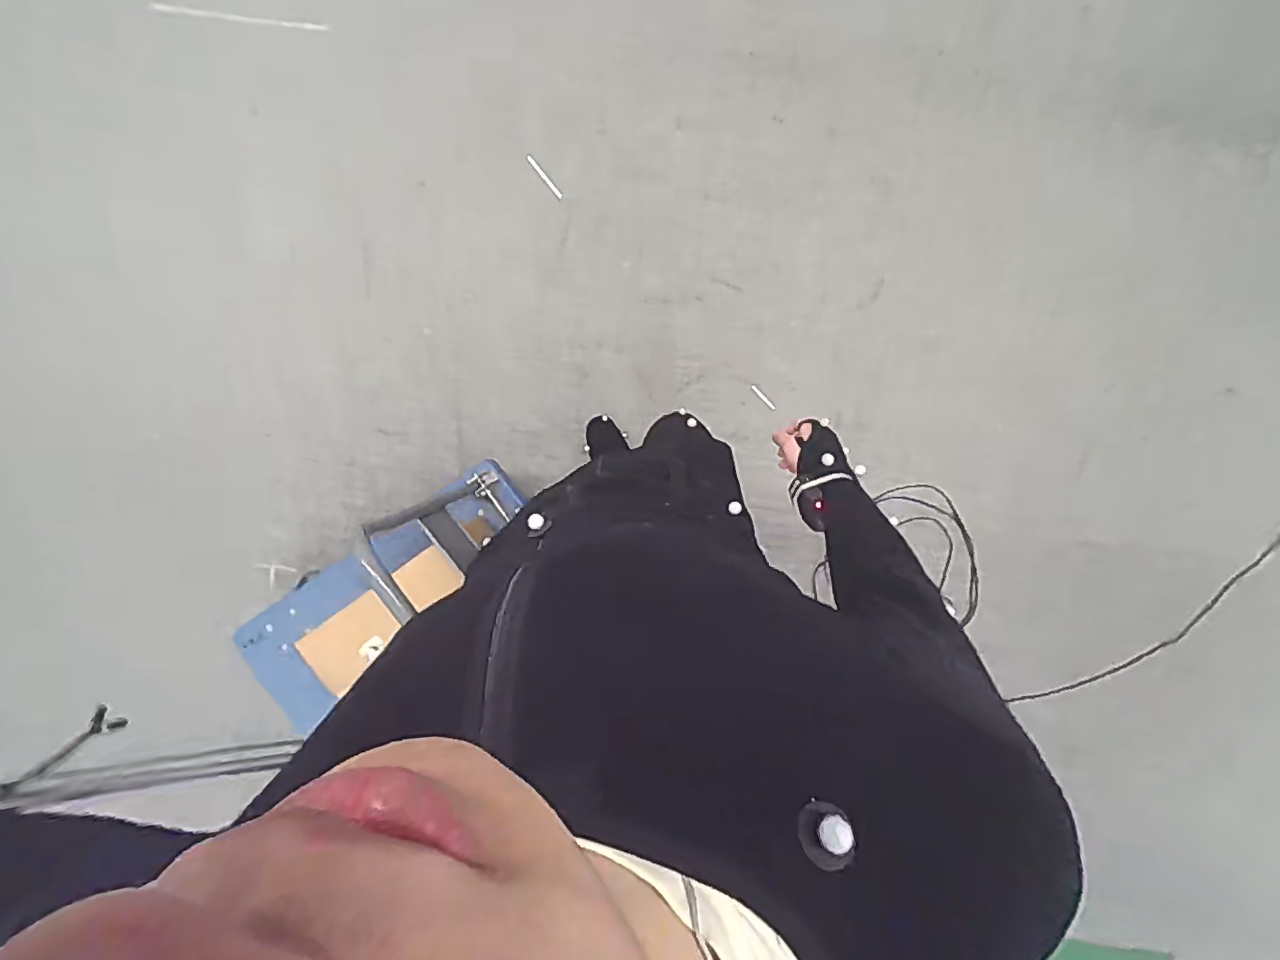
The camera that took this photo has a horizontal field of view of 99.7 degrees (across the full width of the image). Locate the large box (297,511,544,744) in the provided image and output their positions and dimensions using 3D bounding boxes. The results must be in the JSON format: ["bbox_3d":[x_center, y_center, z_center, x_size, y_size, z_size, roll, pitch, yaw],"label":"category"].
[{"bbox_3d":[-0.501,0.334,1.323,0.408,0.320,0.320,-35,96,3],"label":"large box"}]
